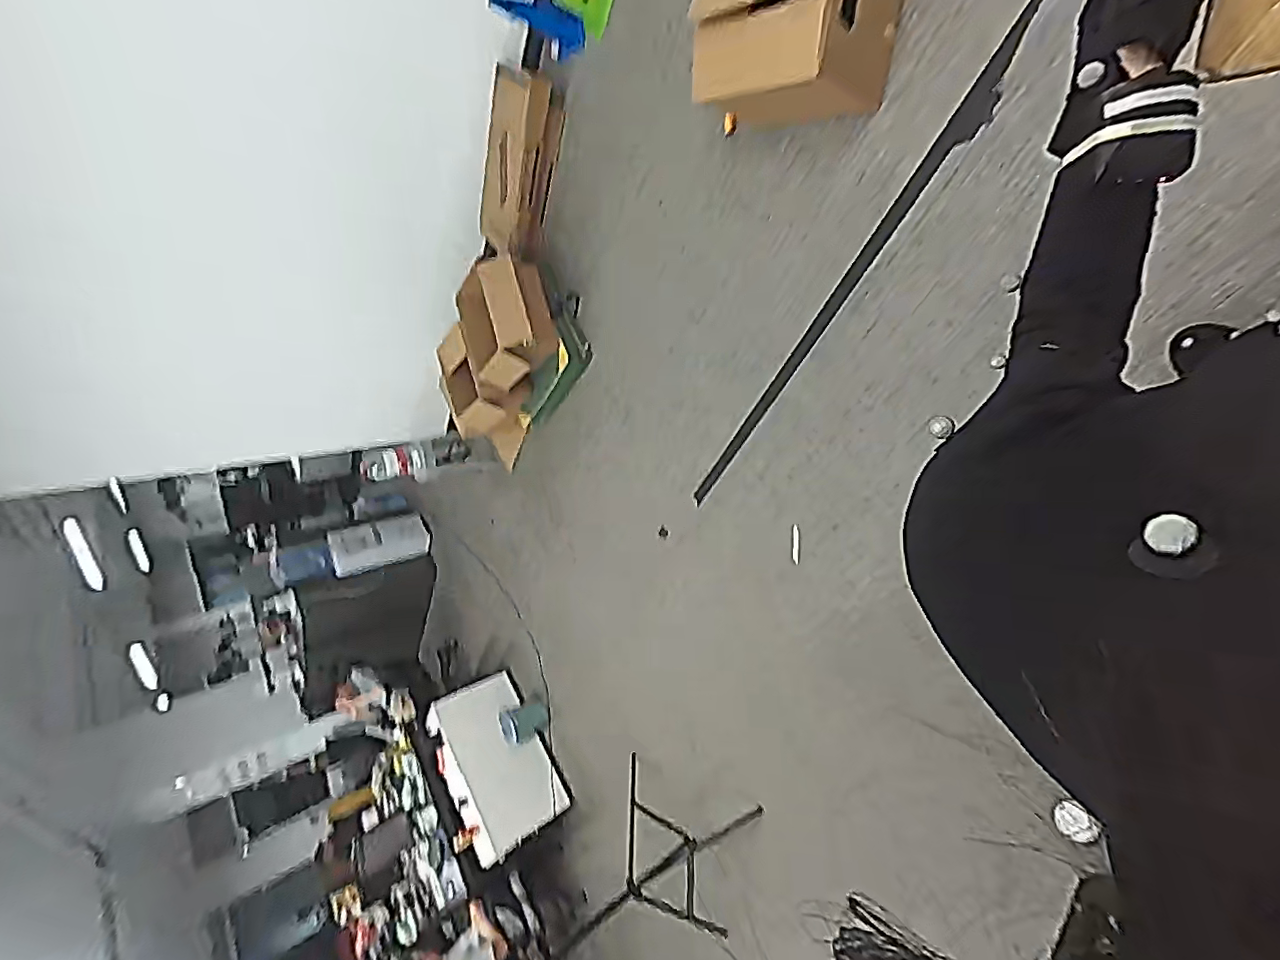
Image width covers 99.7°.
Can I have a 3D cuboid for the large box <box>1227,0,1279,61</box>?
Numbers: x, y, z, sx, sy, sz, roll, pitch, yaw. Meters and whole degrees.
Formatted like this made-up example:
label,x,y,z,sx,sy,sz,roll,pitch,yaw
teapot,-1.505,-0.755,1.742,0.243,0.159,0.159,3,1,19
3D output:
label,x,y,z,sx,sy,sz,roll,pitch,yaw
large box,0.629,-0.471,0.279,0.408,0.320,0.320,14,127,41
